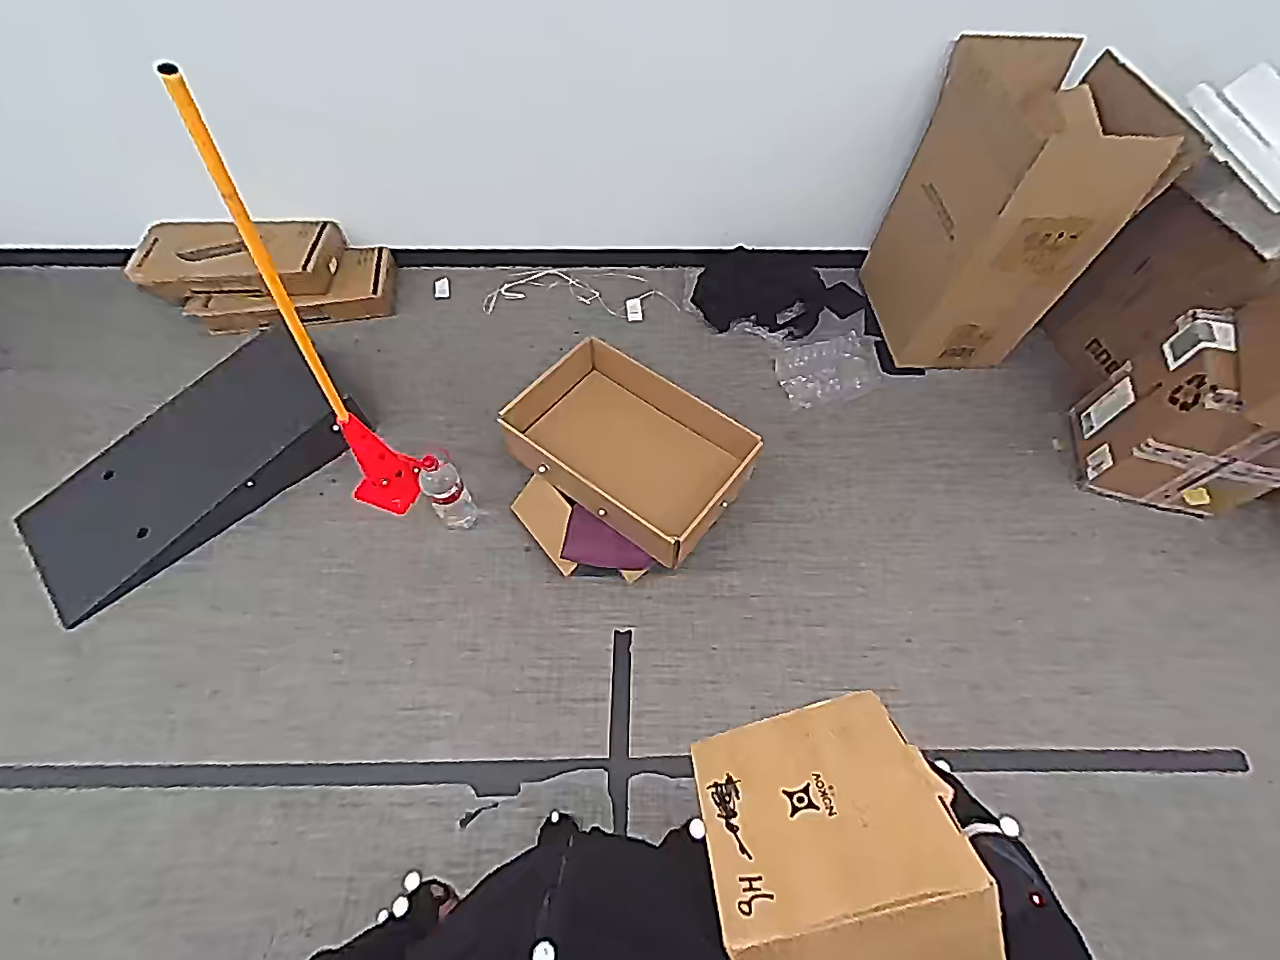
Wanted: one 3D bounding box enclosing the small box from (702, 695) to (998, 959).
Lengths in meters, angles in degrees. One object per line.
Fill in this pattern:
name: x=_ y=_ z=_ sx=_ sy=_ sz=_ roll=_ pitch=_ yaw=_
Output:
small box: x=0.166 y=0.322 z=0.454 sx=0.179 sy=0.176 sz=0.168 roll=-18 pitch=20 yaw=4
